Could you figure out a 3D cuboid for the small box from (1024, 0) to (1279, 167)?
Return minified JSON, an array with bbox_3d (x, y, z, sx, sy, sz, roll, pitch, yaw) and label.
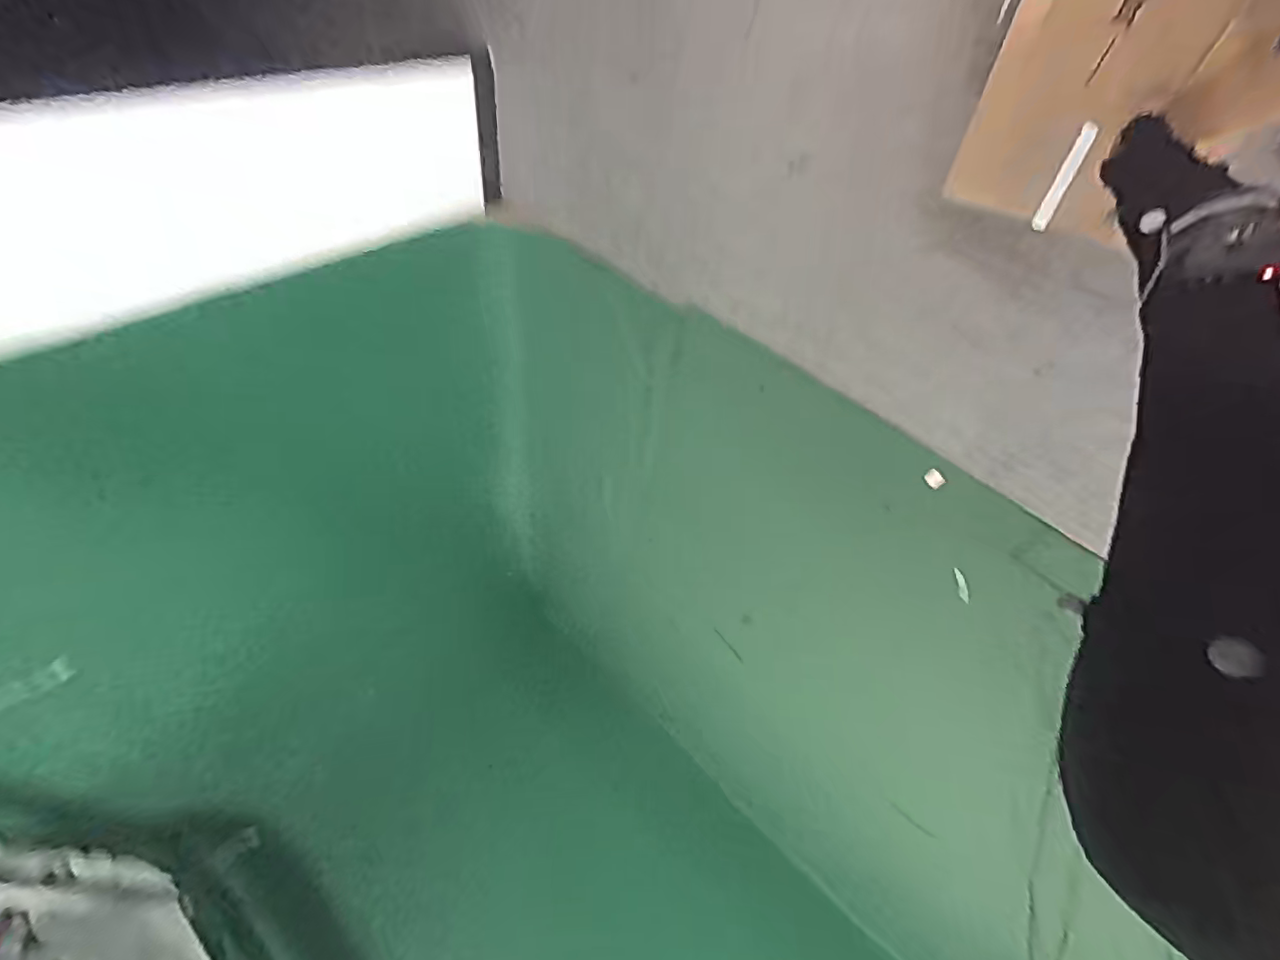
[{"bbox_3d":[0.490,-0.408,0.453,0.179,0.176,0.168,79,174,-59],"label":"small box"}]
